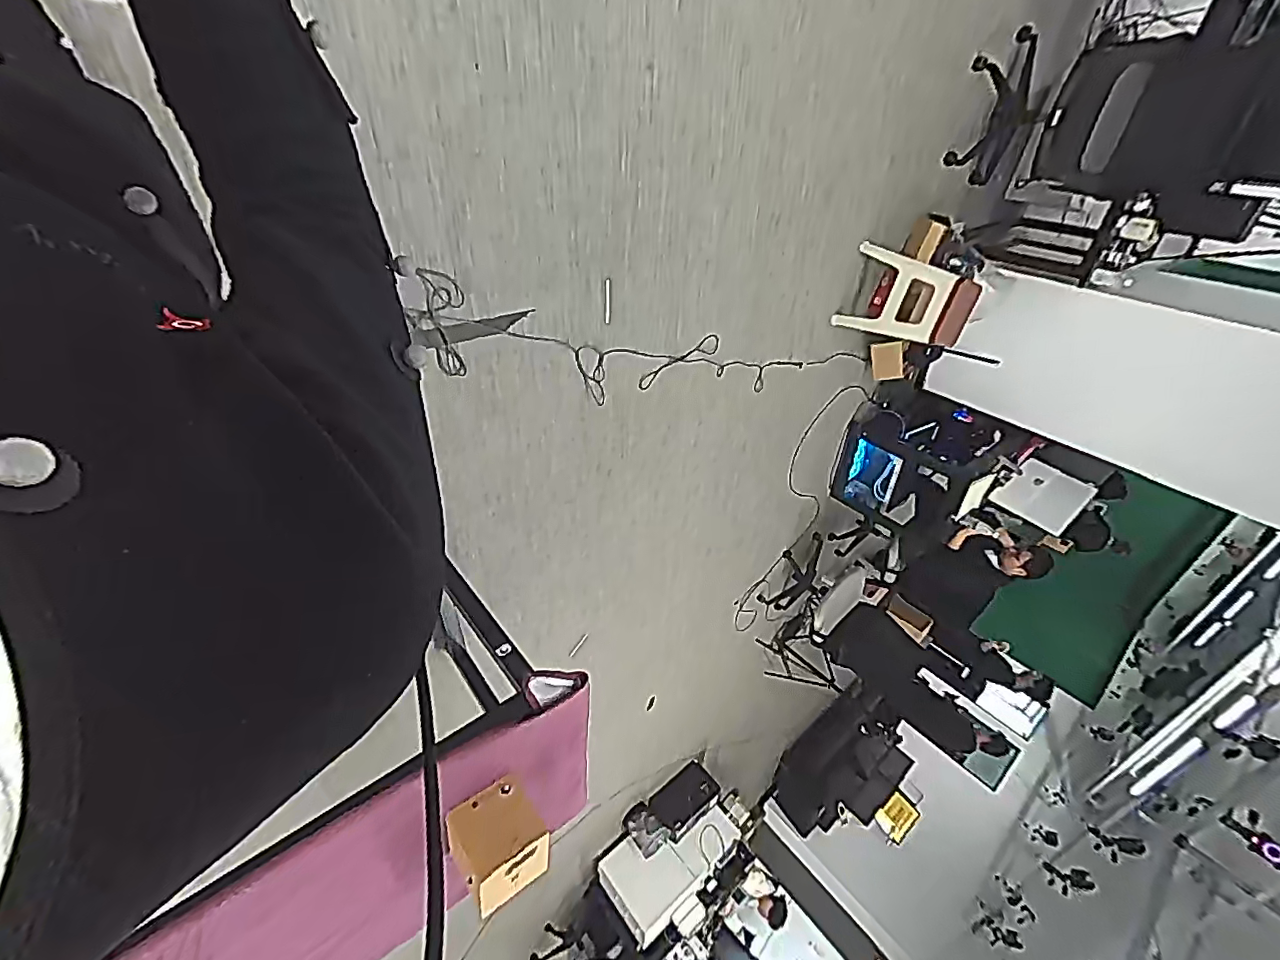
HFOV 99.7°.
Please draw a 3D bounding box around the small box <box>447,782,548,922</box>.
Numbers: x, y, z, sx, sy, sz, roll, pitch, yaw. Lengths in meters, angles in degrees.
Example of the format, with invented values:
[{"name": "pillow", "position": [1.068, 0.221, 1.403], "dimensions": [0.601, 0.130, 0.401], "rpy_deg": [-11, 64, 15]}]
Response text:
[{"name": "small box", "position": [-0.323, 0.823, 1.217], "dimensions": [0.168, 0.176, 0.179], "rpy_deg": [-18, 130, -37]}]
